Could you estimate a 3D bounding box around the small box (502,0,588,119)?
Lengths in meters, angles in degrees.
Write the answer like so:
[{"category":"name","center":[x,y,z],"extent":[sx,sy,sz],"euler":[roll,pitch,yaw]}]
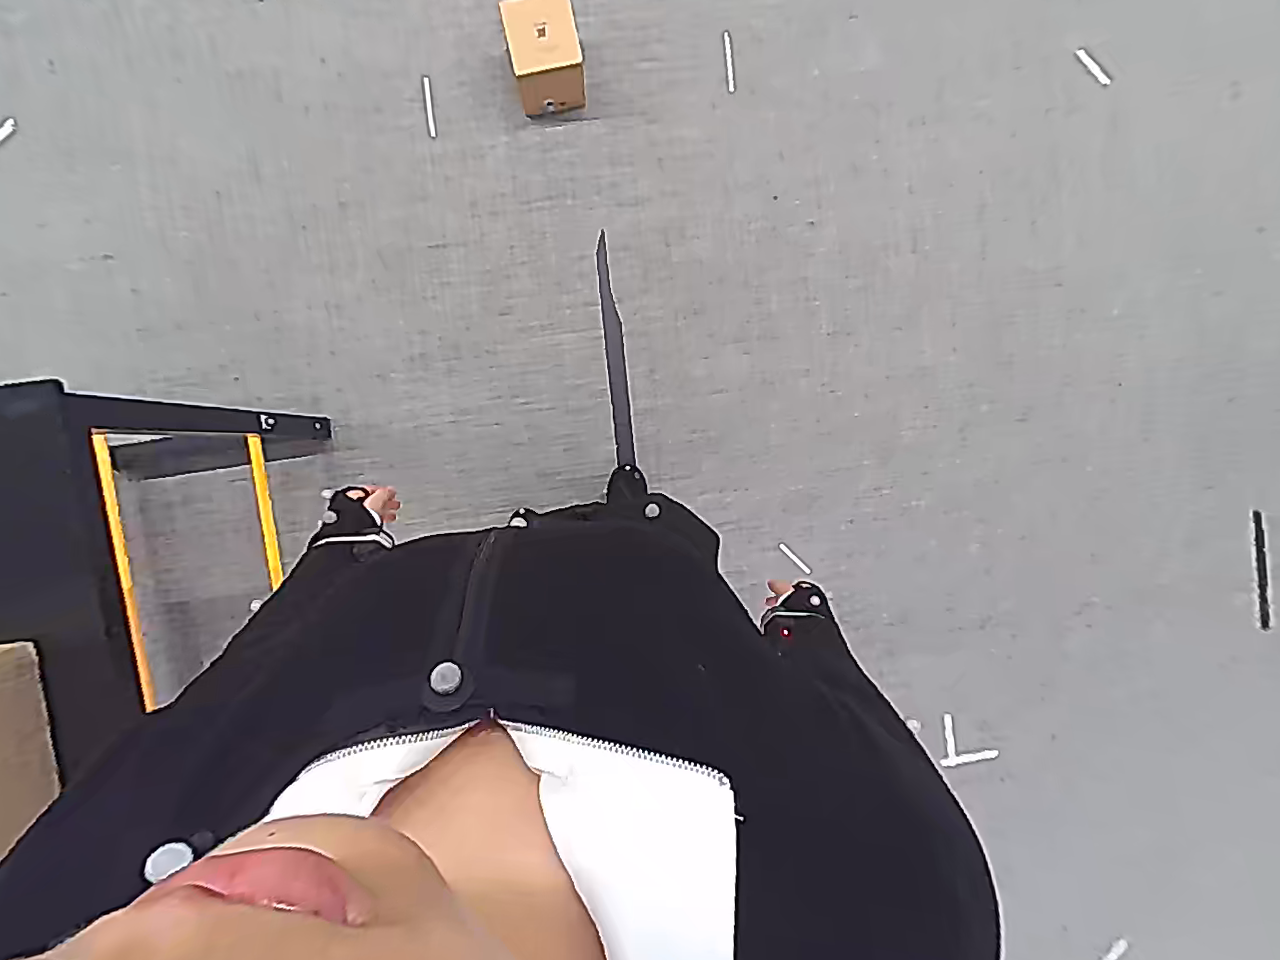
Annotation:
[{"category":"small box","center":[-0.228,-1.046,1.341],"extent":[0.168,0.176,0.179],"euler":[-13,95,-1]}]
